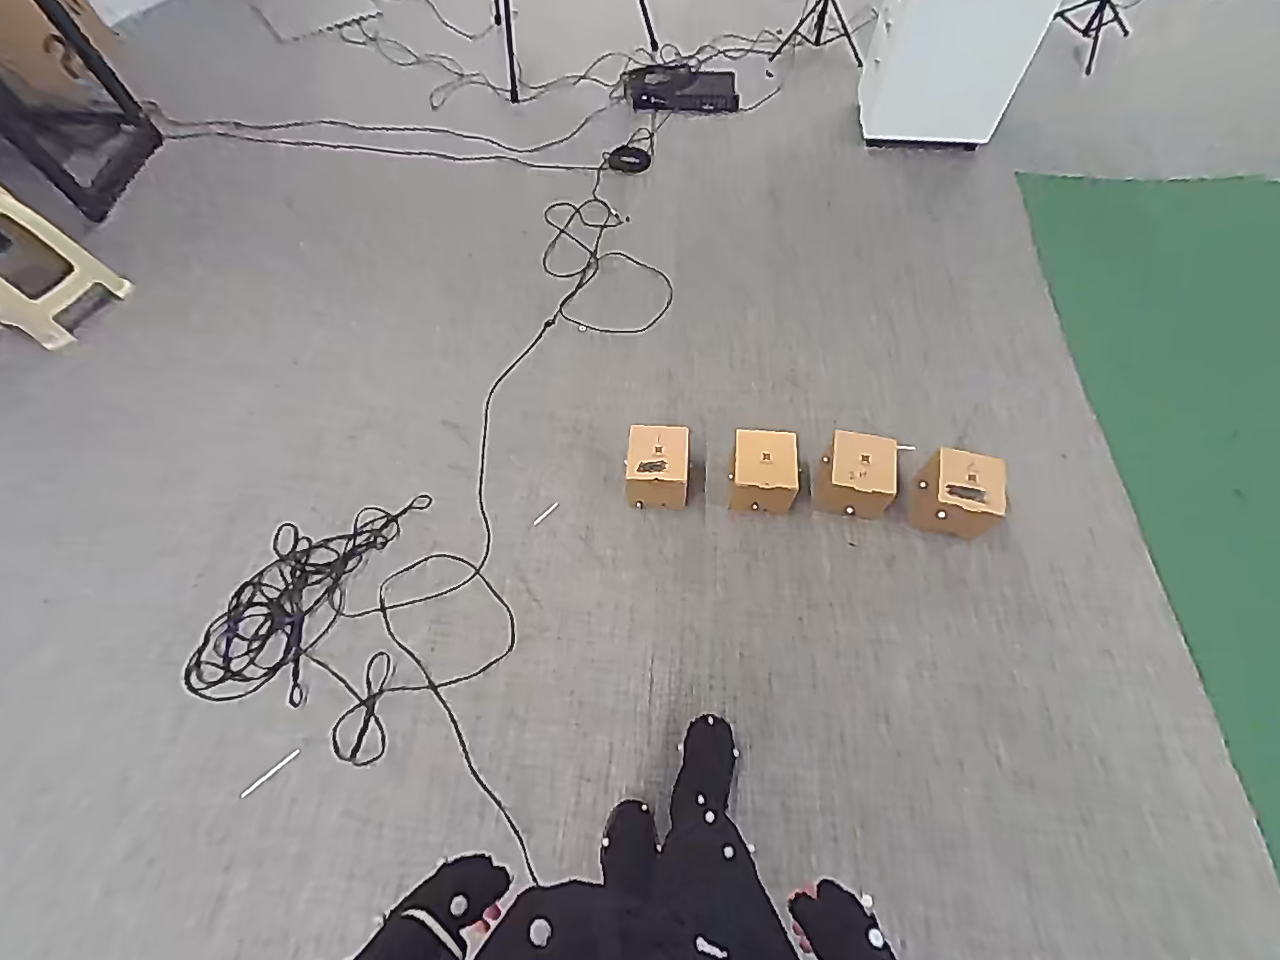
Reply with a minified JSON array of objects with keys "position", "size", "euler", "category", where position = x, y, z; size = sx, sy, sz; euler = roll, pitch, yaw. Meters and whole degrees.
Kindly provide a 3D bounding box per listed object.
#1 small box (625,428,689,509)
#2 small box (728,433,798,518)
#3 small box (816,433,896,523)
[{"position":[0.052,-0.028,1.536],"size":[0.168,0.176,0.179],"euler":[3,61,3],"category":"small box"},{"position":[0.341,-0.011,1.520],"size":[0.168,0.176,0.179],"euler":[4,62,4],"category":"small box"},{"position":[0.598,-0.002,1.507],"size":[0.168,0.176,0.179],"euler":[11,63,8],"category":"small box"}]
